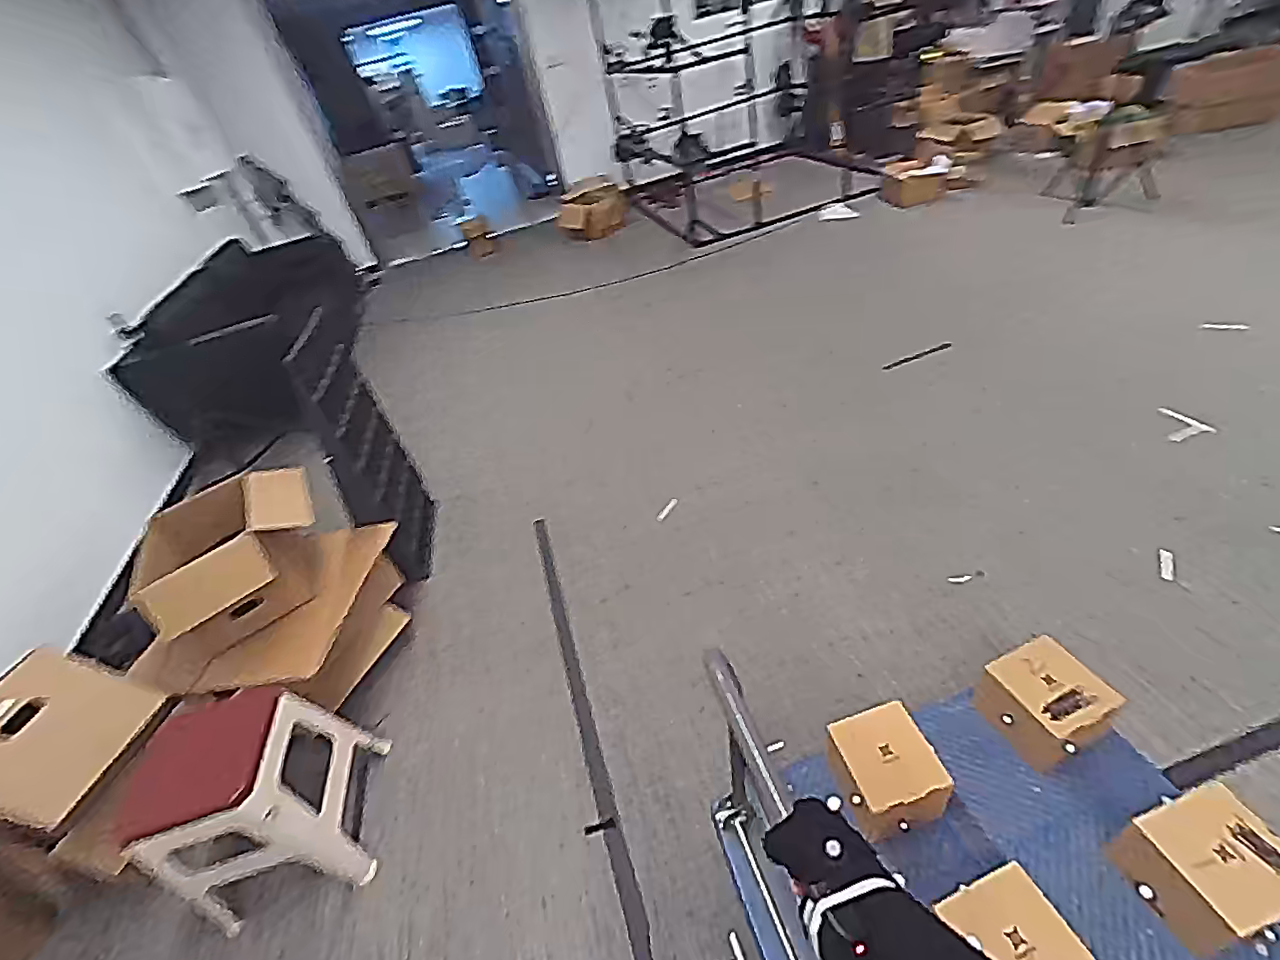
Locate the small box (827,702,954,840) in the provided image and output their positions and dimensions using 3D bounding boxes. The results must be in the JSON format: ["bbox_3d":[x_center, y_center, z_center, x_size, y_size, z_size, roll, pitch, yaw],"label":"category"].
[{"bbox_3d":[0.500,0.599,1.114,0.168,0.176,0.179,-17,41,-5],"label":"small box"}]

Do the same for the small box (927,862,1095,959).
[{"bbox_3d":[0.596,0.772,0.874,0.168,0.176,0.179,-22,39,-8],"label":"small box"}]

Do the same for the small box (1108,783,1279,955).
[{"bbox_3d":[0.949,0.650,0.906,0.179,0.176,0.168,-20,39,-5],"label":"small box"}]
